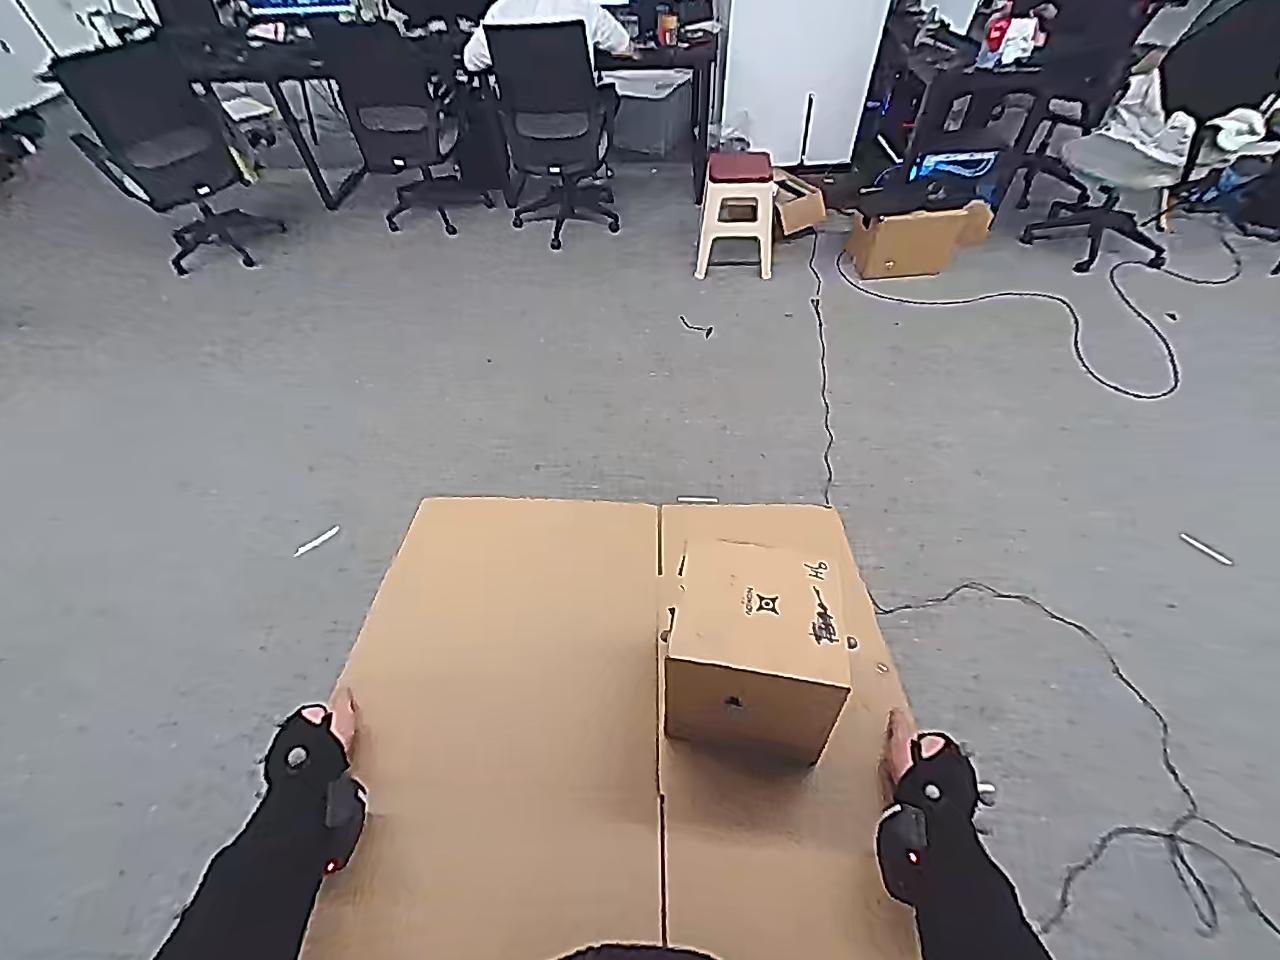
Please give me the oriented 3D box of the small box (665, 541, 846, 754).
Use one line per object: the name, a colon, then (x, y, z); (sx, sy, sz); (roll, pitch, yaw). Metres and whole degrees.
small box: (0.128, 0.194, 0.630); (0.179, 0.176, 0.168); (5, 42, 10)
